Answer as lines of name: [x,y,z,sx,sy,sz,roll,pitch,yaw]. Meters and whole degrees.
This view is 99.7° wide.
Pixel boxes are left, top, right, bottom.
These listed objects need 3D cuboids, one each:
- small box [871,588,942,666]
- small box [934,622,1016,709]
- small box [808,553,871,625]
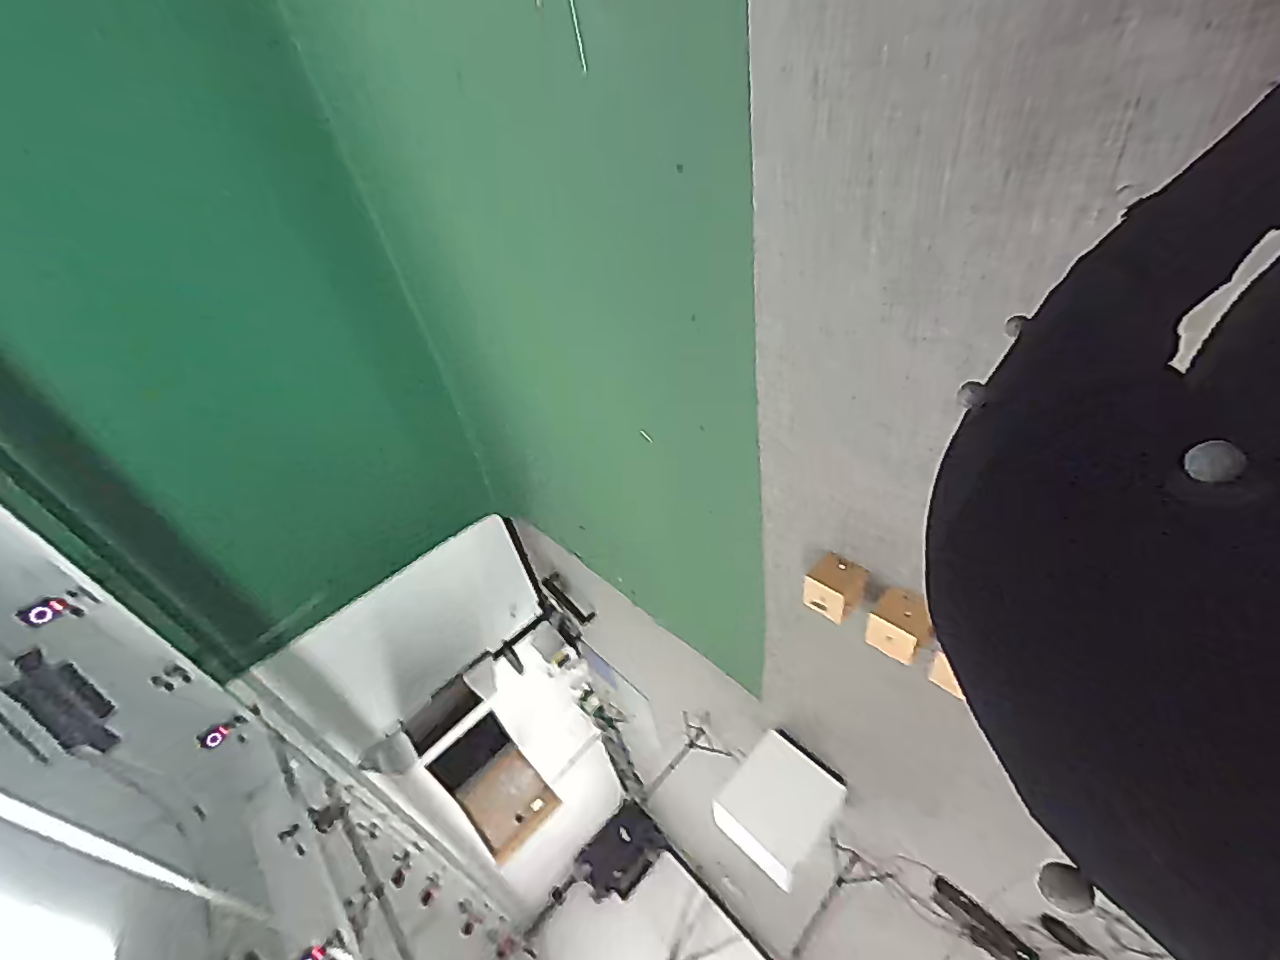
small box: [0.955,0.520,1.937,0.168,0.176,0.179,28,143,41]
small box: [1.110,0.608,1.789,0.168,0.176,0.179,30,144,39]
small box: [0.775,0.418,2.100,0.168,0.176,0.179,29,142,40]
